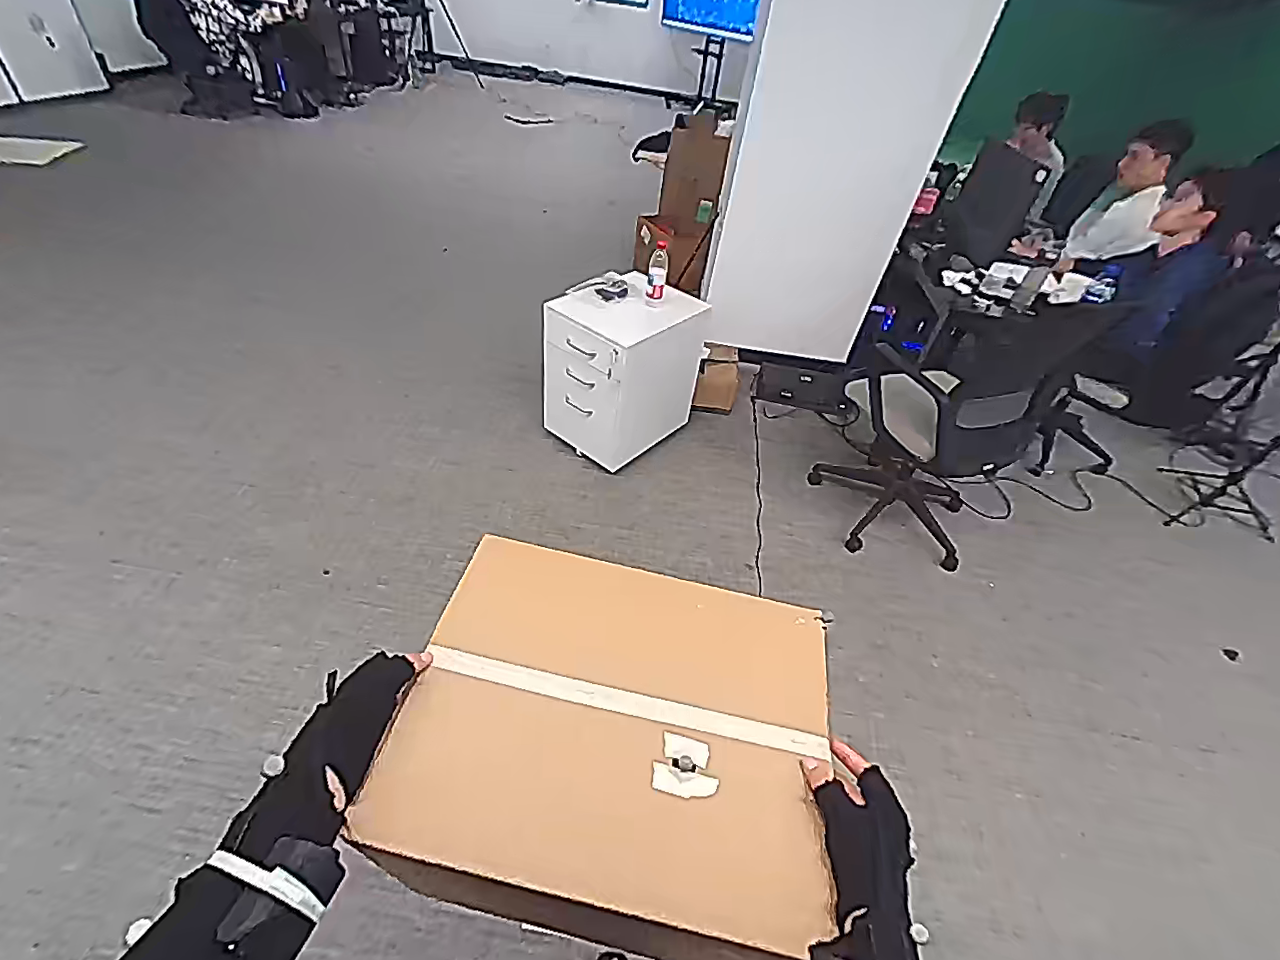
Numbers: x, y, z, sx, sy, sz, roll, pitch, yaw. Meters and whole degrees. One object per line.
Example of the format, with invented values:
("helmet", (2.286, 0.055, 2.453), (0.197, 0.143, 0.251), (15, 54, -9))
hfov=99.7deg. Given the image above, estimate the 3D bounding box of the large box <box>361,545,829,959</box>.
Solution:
("large box", (-0.034, 0.325, 0.650), (0.408, 0.320, 0.320), (13, 47, 2))
